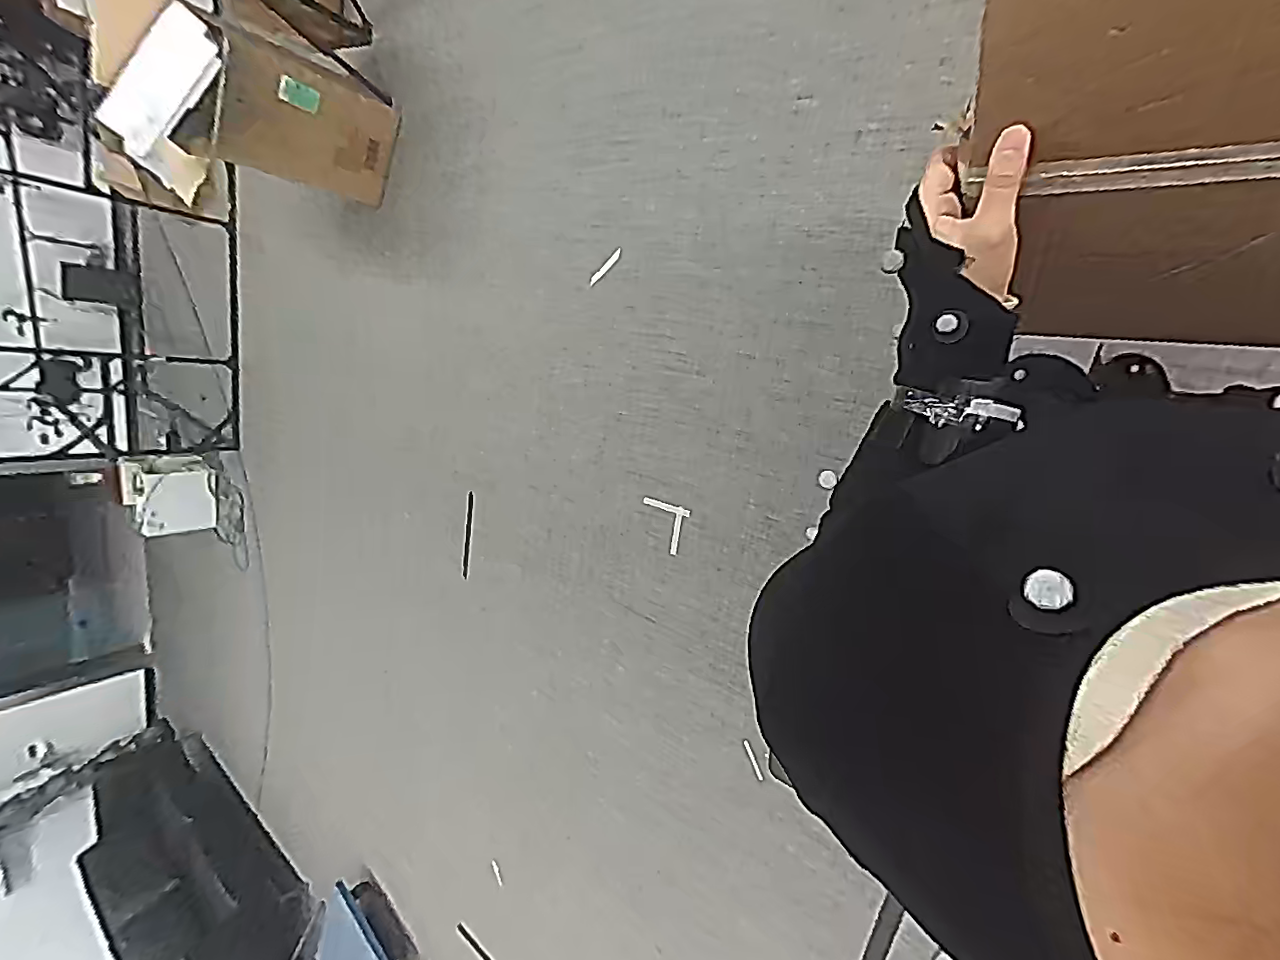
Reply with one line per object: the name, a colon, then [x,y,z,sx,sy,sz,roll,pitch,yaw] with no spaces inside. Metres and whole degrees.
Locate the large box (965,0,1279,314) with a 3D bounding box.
large box: [0.409,-0.299,0.250,0.408,0.320,0.320,11,73,32]
